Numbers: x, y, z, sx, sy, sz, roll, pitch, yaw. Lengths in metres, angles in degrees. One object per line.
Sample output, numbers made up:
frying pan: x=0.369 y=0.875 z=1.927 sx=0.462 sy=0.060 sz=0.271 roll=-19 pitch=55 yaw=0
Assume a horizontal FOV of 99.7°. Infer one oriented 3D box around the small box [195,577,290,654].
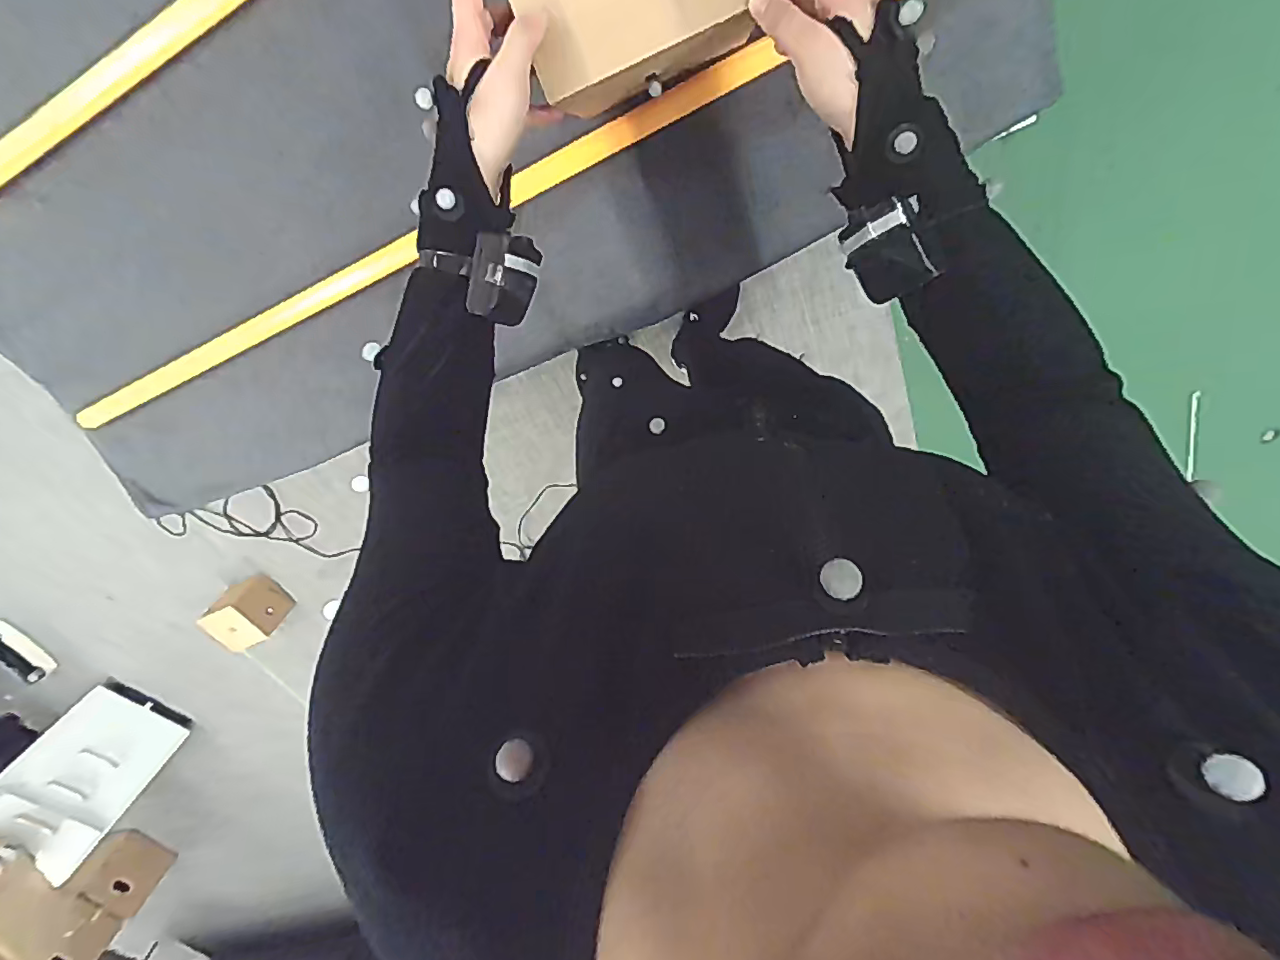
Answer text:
small box: x=-1.354 y=0.460 z=1.860 sx=0.179 sy=0.176 sz=0.168 roll=-23 pitch=117 yaw=16
